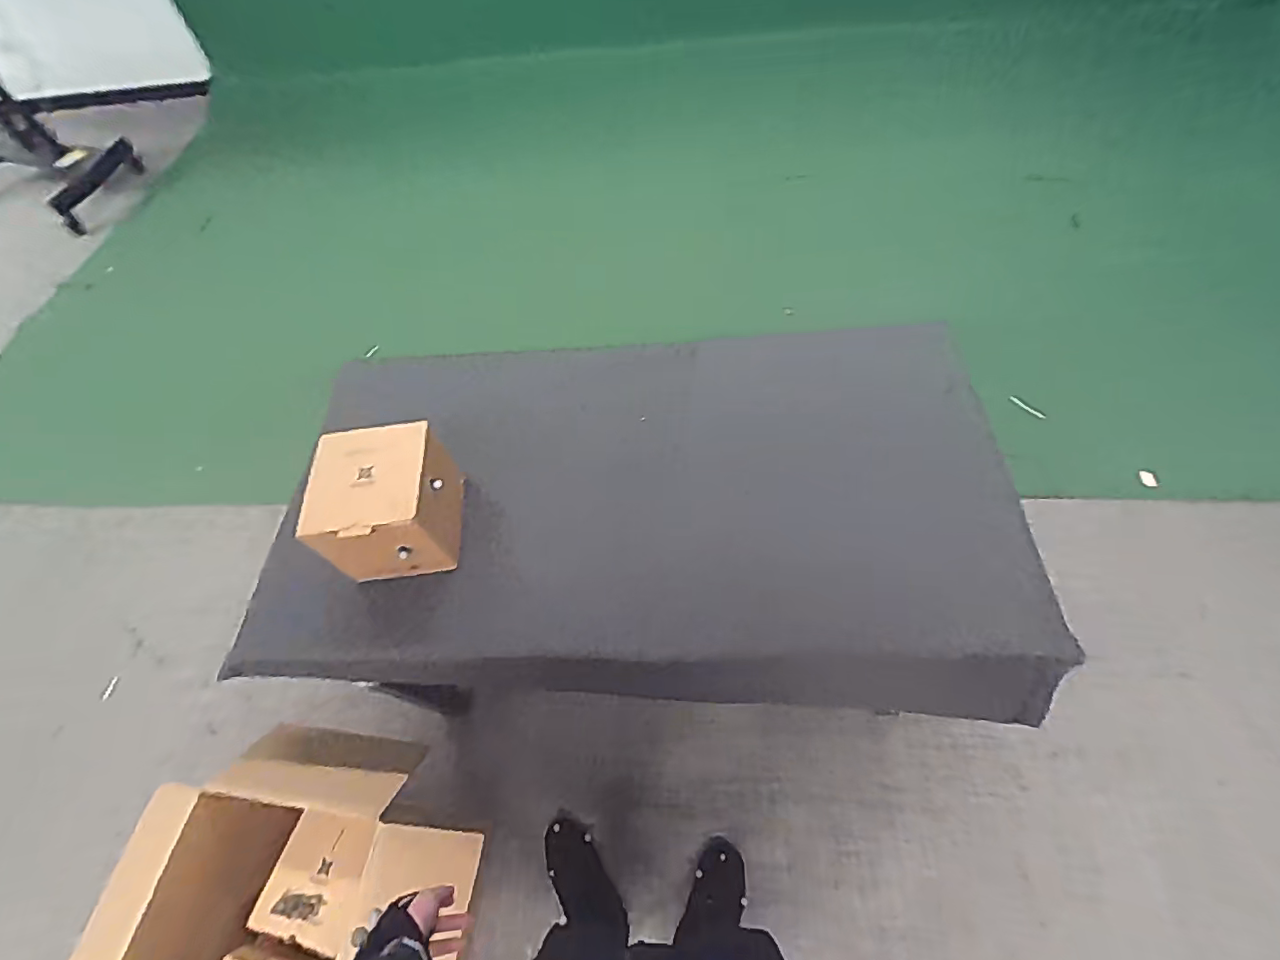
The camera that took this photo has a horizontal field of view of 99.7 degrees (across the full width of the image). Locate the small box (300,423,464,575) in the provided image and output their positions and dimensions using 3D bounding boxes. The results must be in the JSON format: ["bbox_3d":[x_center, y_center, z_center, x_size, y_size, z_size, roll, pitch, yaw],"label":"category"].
[{"bbox_3d":[-0.386,0.038,0.846,0.168,0.176,0.179,-8,56,0],"label":"small box"}]
